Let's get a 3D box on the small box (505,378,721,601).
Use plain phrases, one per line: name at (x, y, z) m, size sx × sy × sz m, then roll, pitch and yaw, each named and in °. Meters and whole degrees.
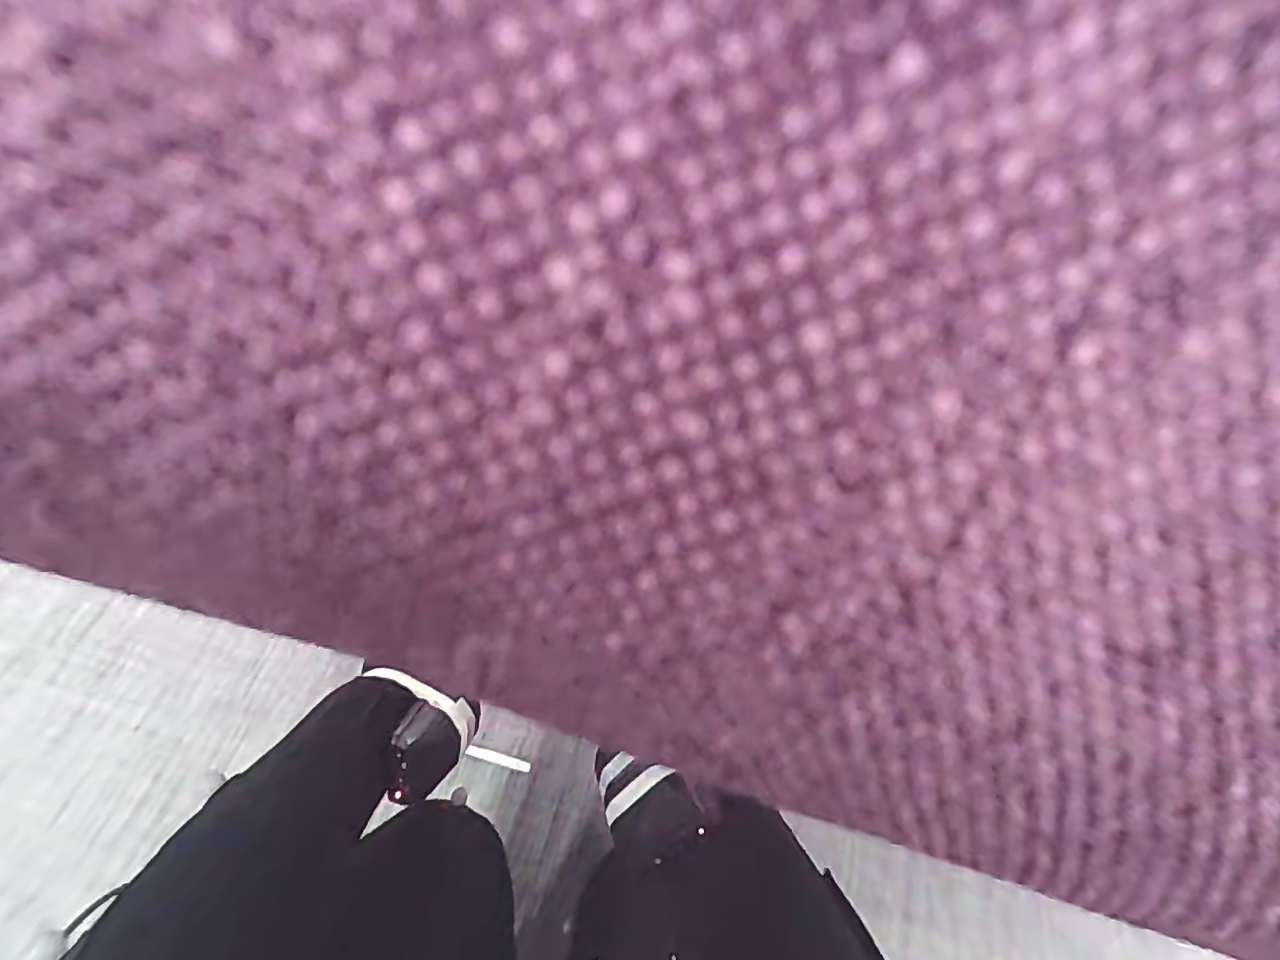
small box at (-0.034, 0.023, 0.594) m, size 0.179 × 0.176 × 0.168 m, roll 19°, pitch 64°, yaw -3°
